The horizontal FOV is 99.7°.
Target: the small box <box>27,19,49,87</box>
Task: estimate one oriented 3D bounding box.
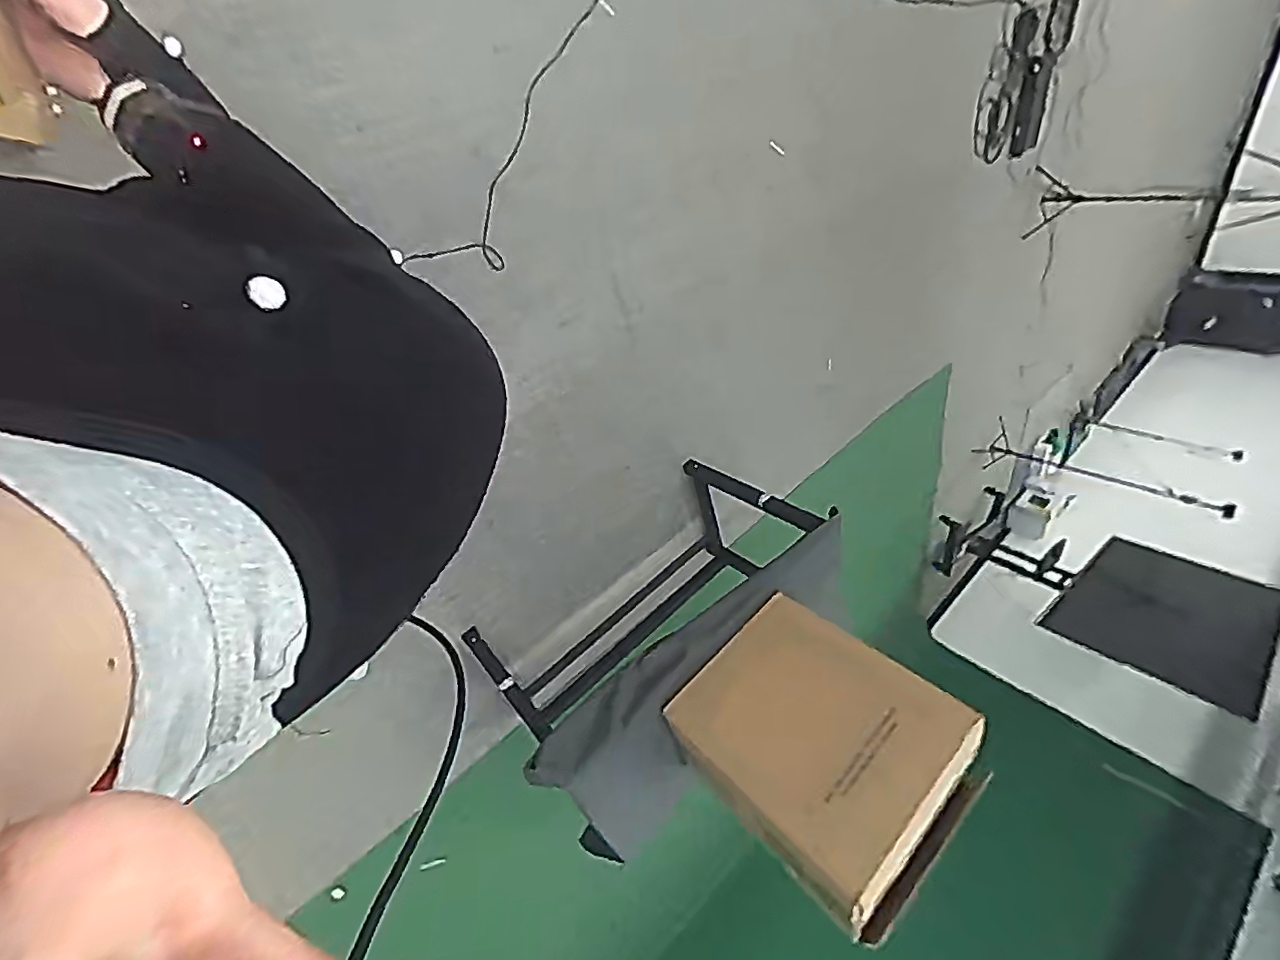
[{"bbox_3d":[-1.061,-0.663,0.834,0.179,0.176,0.168,9,106,-45],"label":"small box"}]

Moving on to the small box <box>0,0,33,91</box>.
[{"bbox_3d":[-0.507,-0.319,0.298,0.179,0.176,0.168,-16,133,-29],"label":"small box"}]

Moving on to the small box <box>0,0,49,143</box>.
[{"bbox_3d":[-0.950,-0.585,0.739,0.168,0.176,0.179,-6,117,-39],"label":"small box"}]
